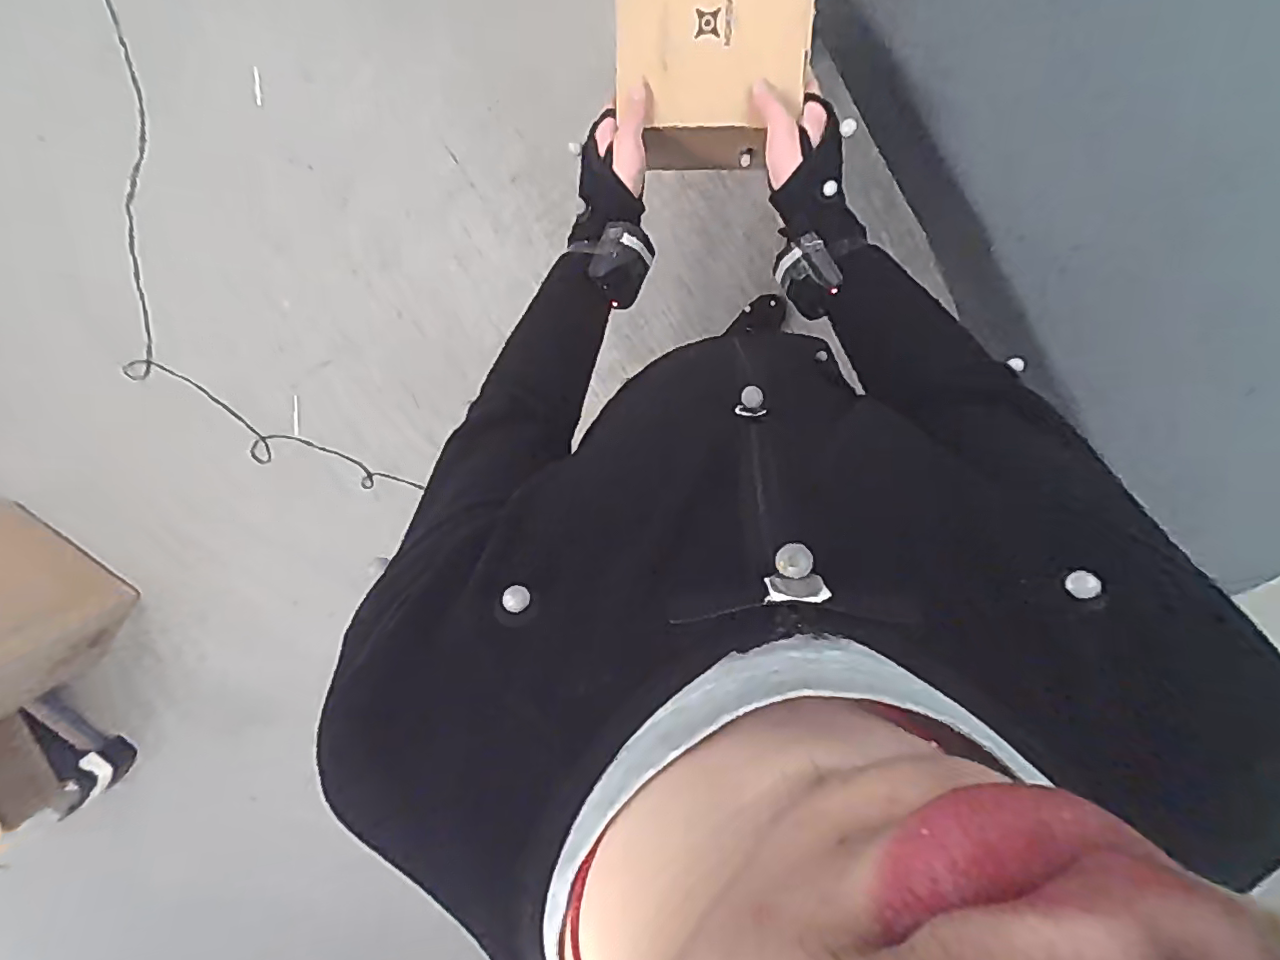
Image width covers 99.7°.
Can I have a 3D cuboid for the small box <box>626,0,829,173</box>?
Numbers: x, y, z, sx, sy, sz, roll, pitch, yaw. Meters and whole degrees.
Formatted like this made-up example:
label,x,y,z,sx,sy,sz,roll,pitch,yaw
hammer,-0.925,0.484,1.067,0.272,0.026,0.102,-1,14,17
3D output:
label,x,y,z,sx,sy,sz,roll,pitch,yaw
small box,0.079,-0.421,0.541,0.179,0.176,0.168,0,106,4
